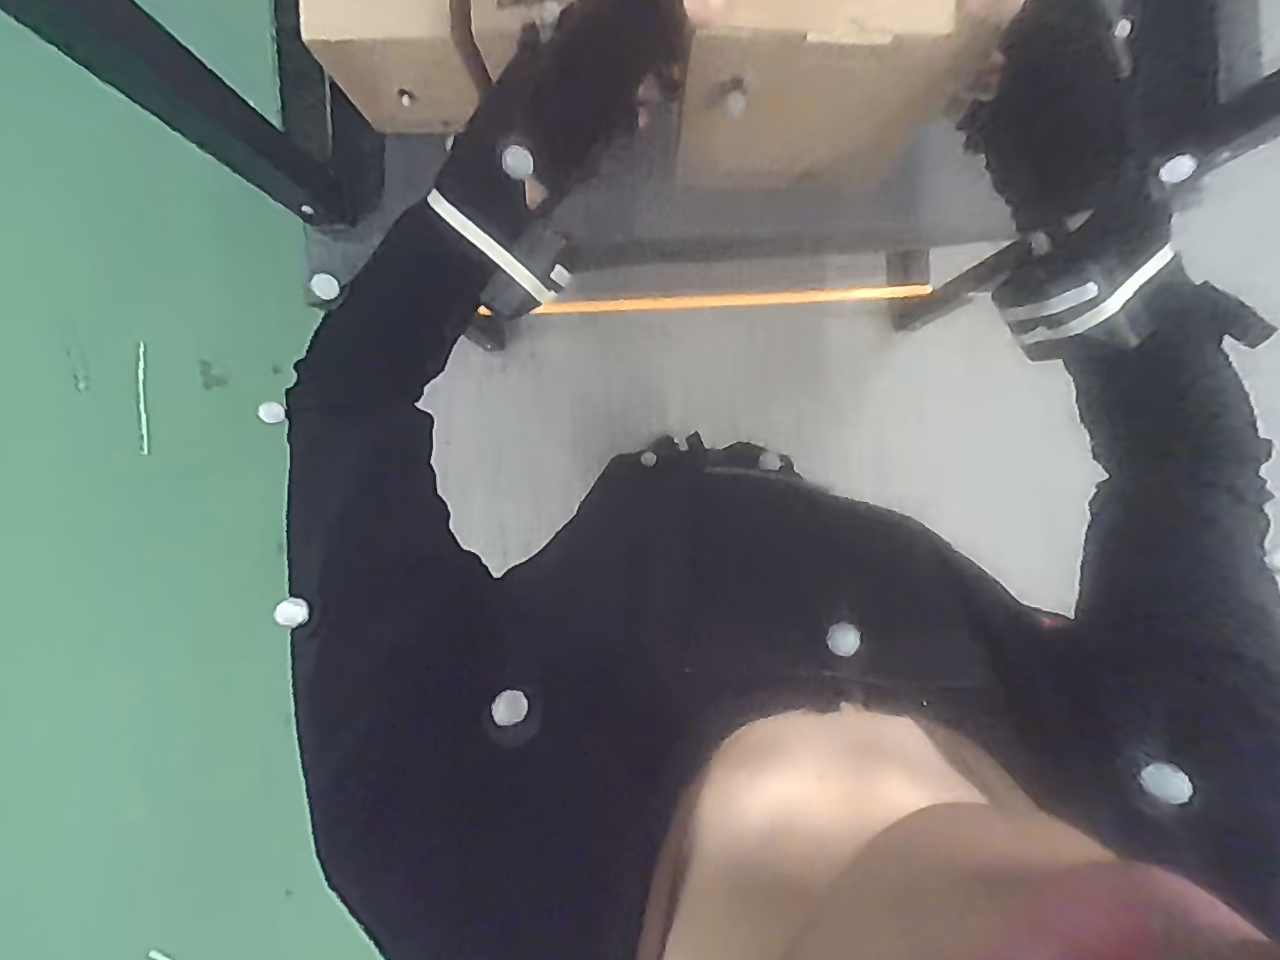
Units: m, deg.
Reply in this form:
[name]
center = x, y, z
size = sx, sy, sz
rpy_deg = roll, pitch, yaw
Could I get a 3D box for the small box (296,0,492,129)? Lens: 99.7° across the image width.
[small box]
center = -0.282, -0.557, 0.652
size = 0.168, 0.176, 0.179
rpy_deg = 0, 91, 0
